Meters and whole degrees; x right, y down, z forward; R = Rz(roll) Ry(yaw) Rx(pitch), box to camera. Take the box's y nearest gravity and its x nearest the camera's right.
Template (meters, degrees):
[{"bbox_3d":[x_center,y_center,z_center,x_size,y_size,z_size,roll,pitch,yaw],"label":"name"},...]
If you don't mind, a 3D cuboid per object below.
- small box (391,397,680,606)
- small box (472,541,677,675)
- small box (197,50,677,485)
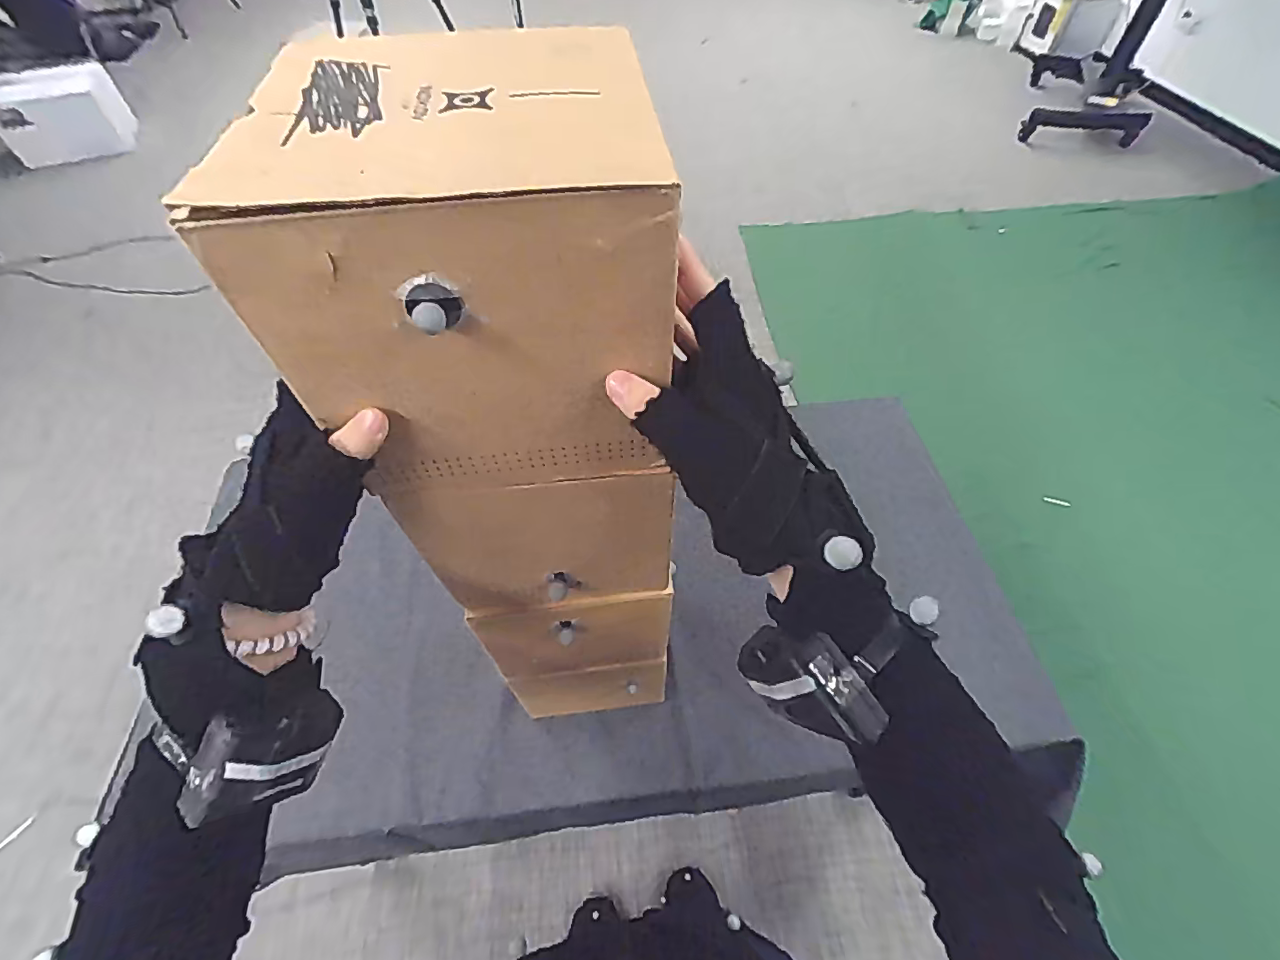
[{"bbox_3d":[-0.069,-0.012,0.435,0.179,0.176,0.168,-5,52,-3],"label":"small box"},{"bbox_3d":[-0.063,0.090,0.565,0.179,0.176,0.168,-7,54,-4],"label":"small box"},{"bbox_3d":[-0.078,-0.110,0.305,0.179,0.176,0.168,-5,54,-4],"label":"small box"}]
